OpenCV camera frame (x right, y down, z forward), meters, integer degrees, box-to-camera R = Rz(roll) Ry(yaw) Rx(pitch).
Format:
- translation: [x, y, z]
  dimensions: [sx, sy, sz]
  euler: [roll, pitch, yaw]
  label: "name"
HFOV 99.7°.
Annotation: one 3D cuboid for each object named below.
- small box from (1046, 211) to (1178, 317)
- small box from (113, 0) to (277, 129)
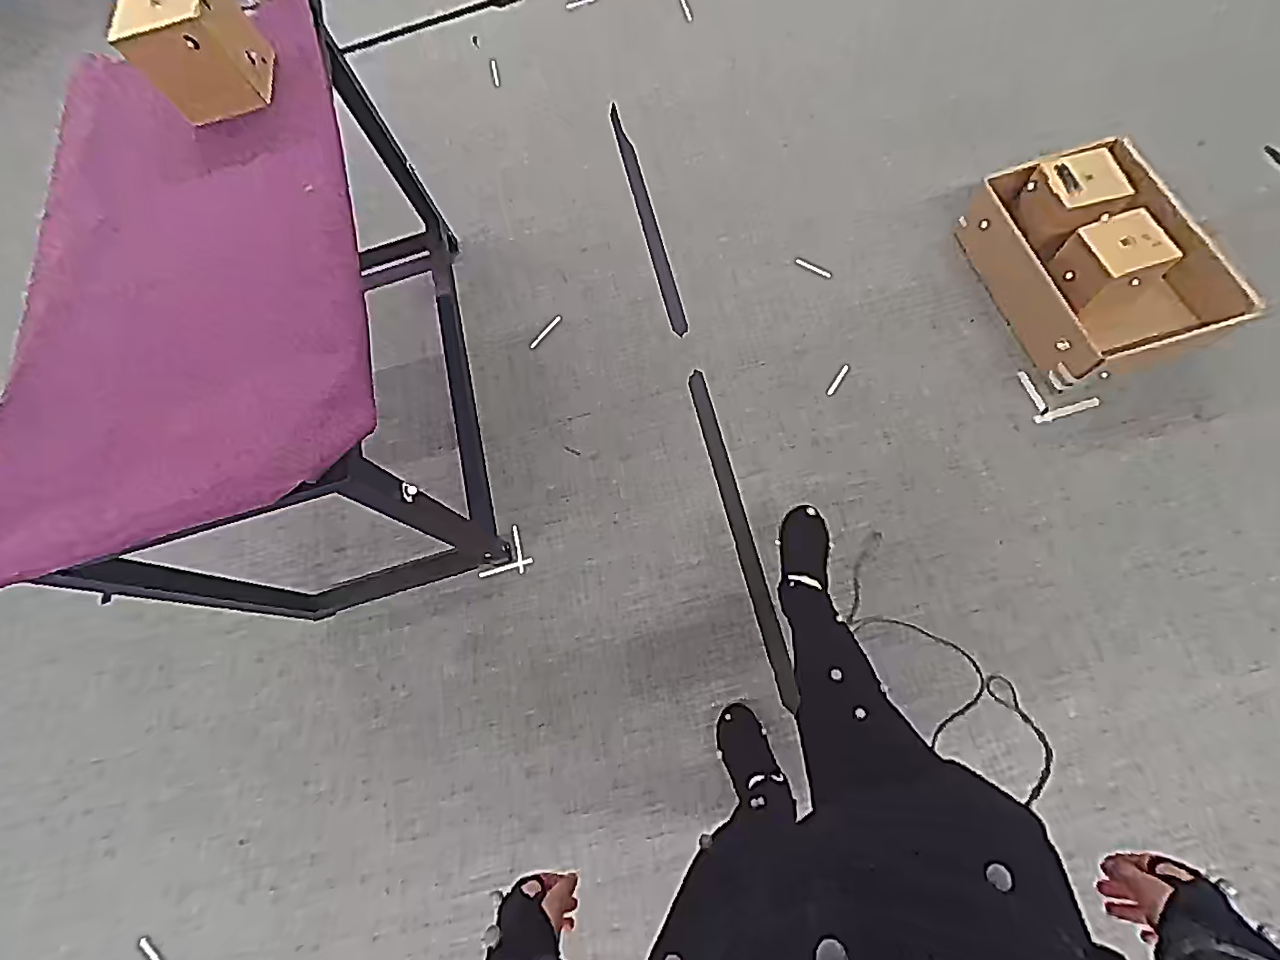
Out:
- translation: [1.217, -0.558, 1.416]
  dimensions: [0.179, 0.176, 0.168]
  euler: [-17, 69, 2]
  label: "small box"
- translation: [-0.864, -0.835, 1.065]
  dimensions: [0.179, 0.176, 0.168]
  euler: [-12, 70, 5]
  label: "small box"
